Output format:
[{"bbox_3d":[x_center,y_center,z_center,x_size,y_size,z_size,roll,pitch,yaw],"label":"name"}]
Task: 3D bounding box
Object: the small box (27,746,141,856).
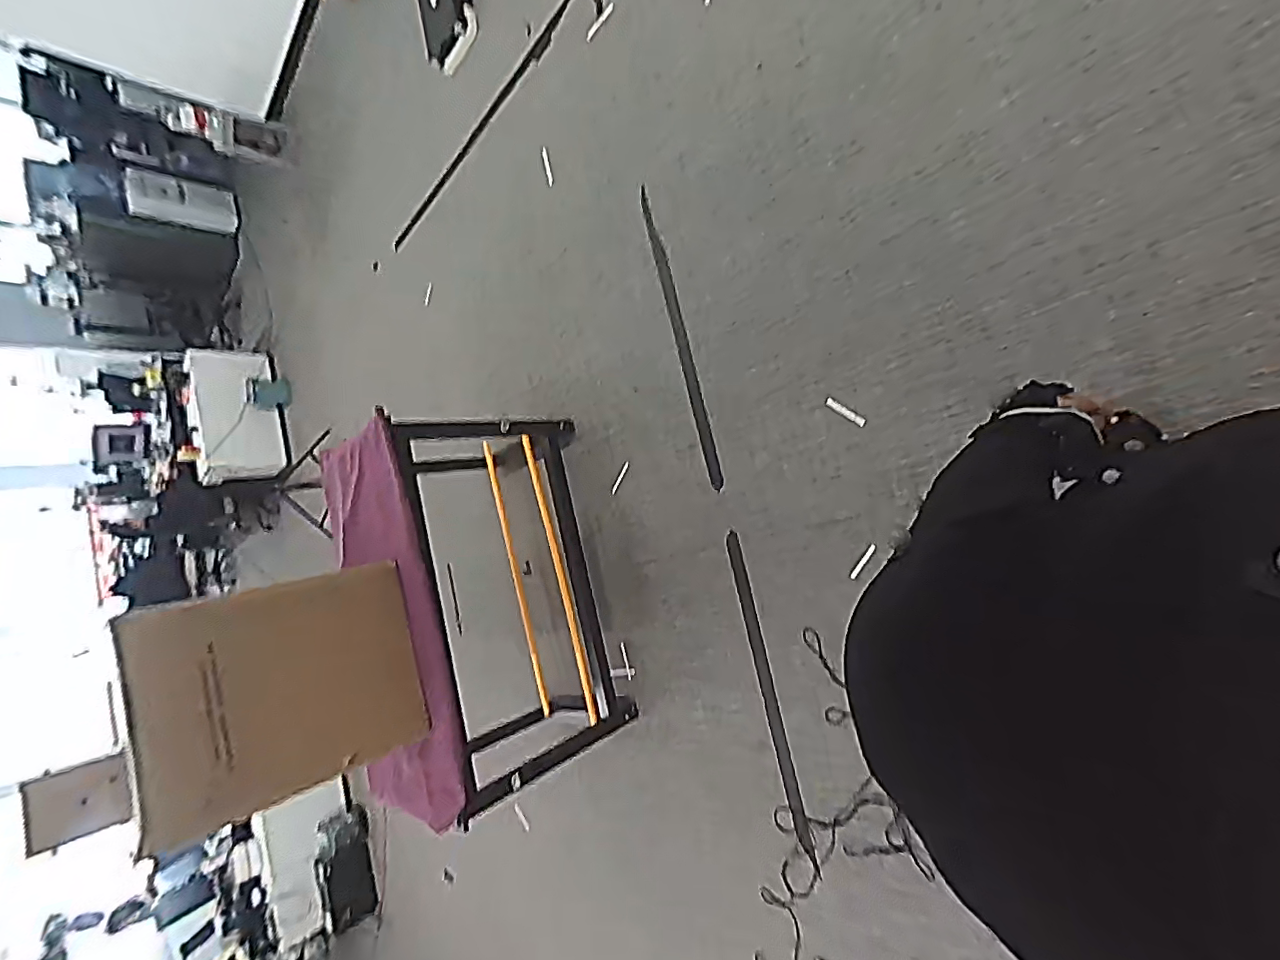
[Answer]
[{"bbox_3d":[-1.292,0.741,1.264,0.179,0.176,0.168,-30,74,41],"label":"small box"}]
